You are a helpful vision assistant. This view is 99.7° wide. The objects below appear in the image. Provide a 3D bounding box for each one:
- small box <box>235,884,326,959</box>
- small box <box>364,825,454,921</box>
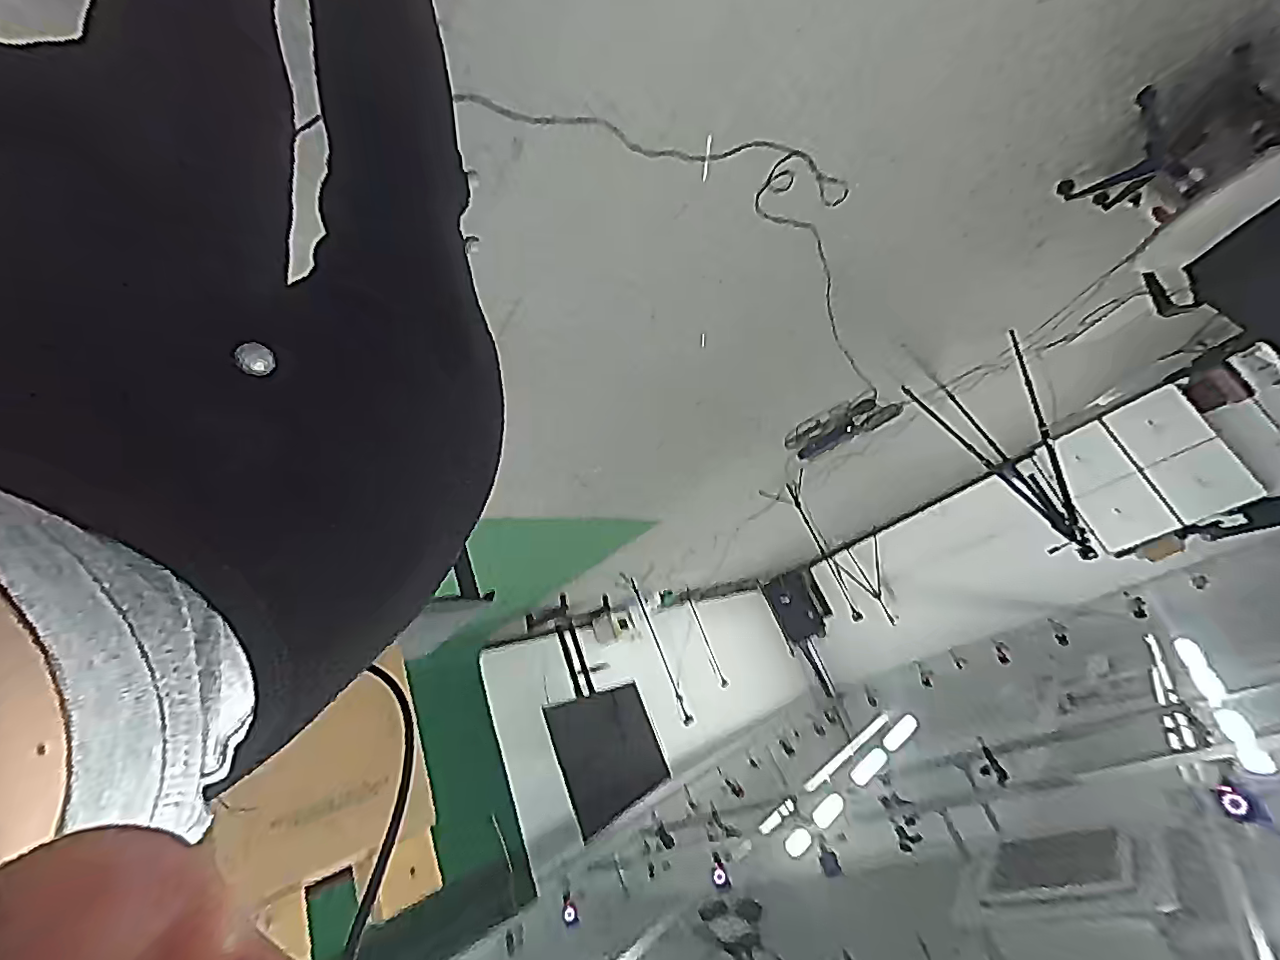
[{"bbox_3d":[-0.916,1.159,1.370,0.168,0.176,0.179,-2,149,-42],"label":"small box"},{"bbox_3d":[-0.687,1.158,1.604,0.179,0.176,0.168,-1,149,-48],"label":"small box"}]
